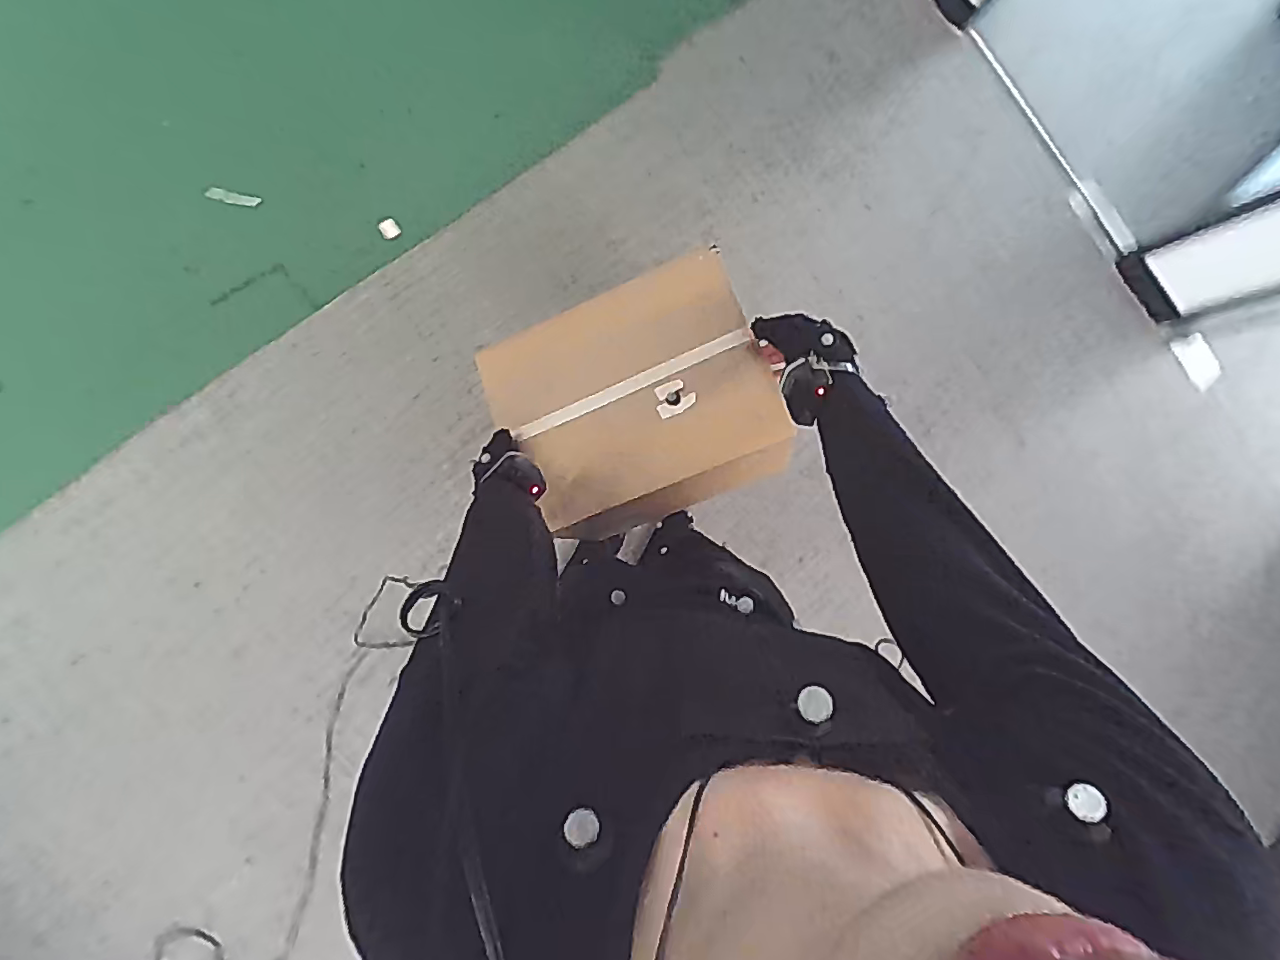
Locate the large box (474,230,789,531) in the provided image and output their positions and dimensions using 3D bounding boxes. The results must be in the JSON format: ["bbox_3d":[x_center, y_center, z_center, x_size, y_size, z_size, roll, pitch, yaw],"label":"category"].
[{"bbox_3d":[0.002,-0.130,0.931,0.408,0.320,0.320,-23,80,9],"label":"large box"}]
